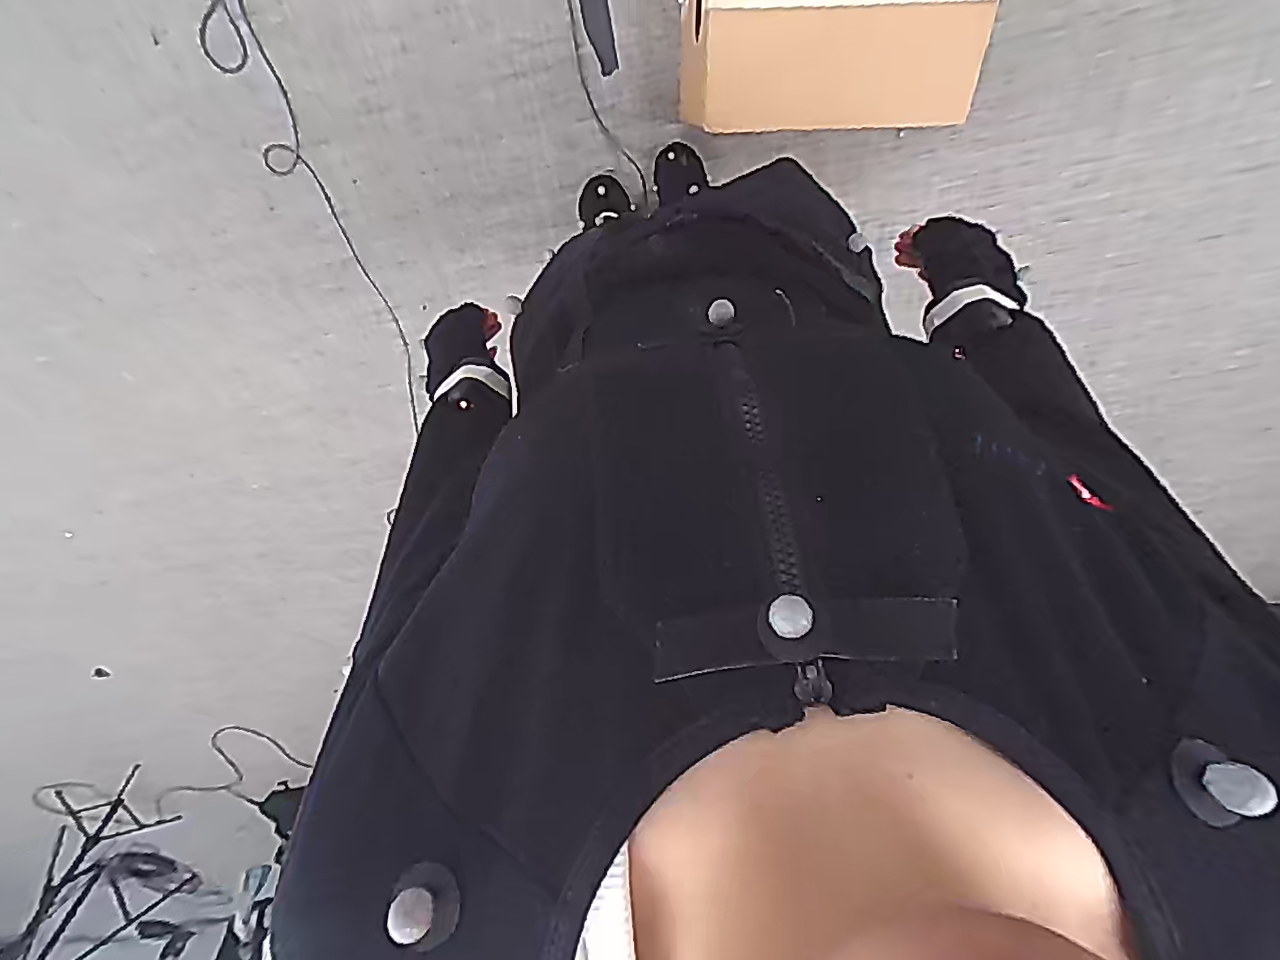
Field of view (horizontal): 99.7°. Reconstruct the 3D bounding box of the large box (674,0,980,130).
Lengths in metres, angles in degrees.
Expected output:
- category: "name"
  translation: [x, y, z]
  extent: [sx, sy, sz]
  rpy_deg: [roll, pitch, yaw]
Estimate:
- category: "large box"
  translation: [0.271, -0.757, 0.859]
  extent: [0.408, 0.320, 0.320]
  rpy_deg: [-3, 125, -2]
